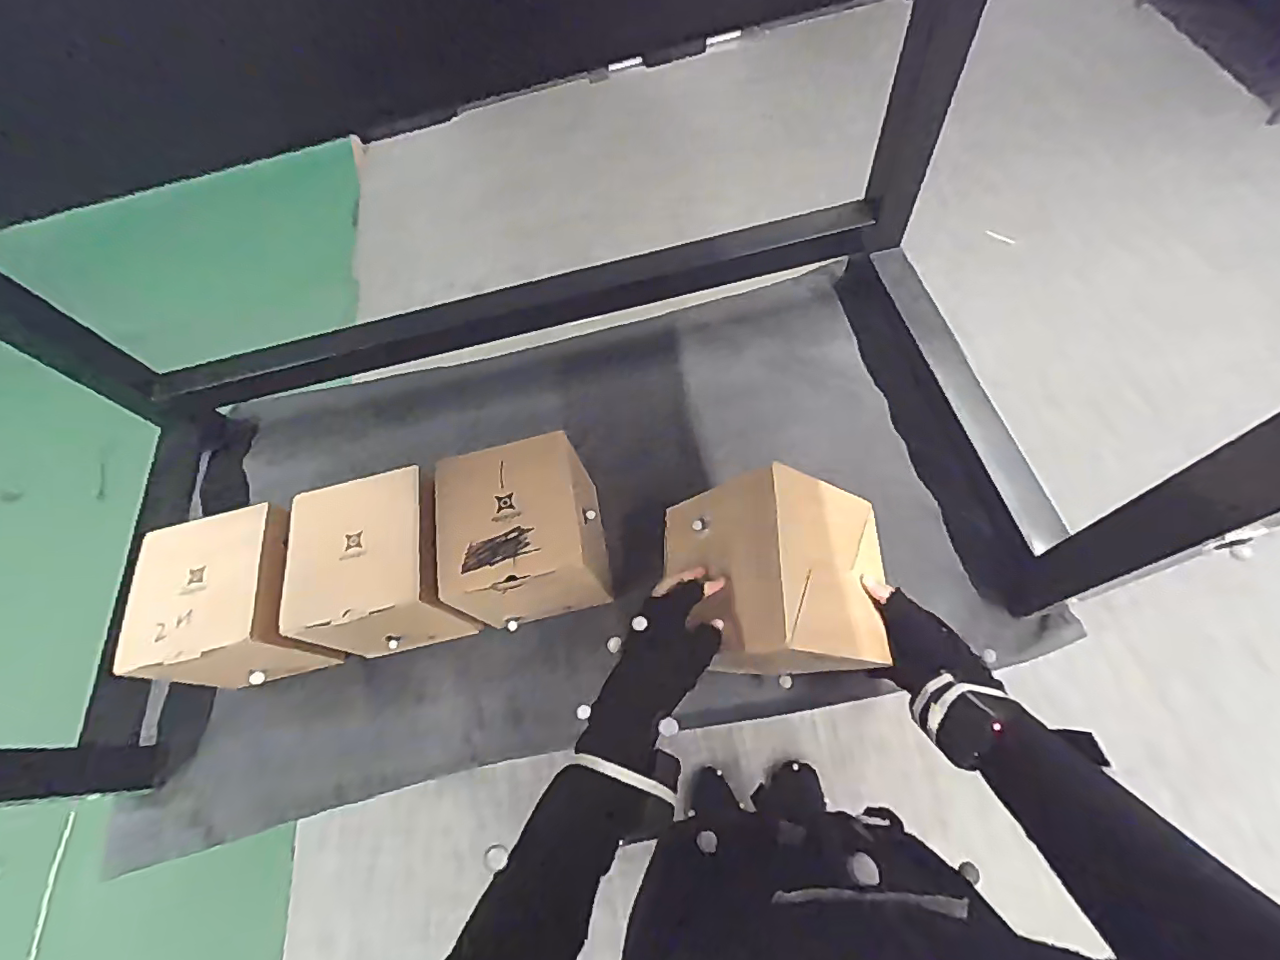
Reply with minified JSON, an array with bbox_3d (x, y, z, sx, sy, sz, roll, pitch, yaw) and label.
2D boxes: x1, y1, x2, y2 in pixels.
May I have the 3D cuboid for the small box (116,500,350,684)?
[{"bbox_3d":[-0.507,0.153,0.705,0.168,0.176,0.179,-14,63,3],"label":"small box"}]
